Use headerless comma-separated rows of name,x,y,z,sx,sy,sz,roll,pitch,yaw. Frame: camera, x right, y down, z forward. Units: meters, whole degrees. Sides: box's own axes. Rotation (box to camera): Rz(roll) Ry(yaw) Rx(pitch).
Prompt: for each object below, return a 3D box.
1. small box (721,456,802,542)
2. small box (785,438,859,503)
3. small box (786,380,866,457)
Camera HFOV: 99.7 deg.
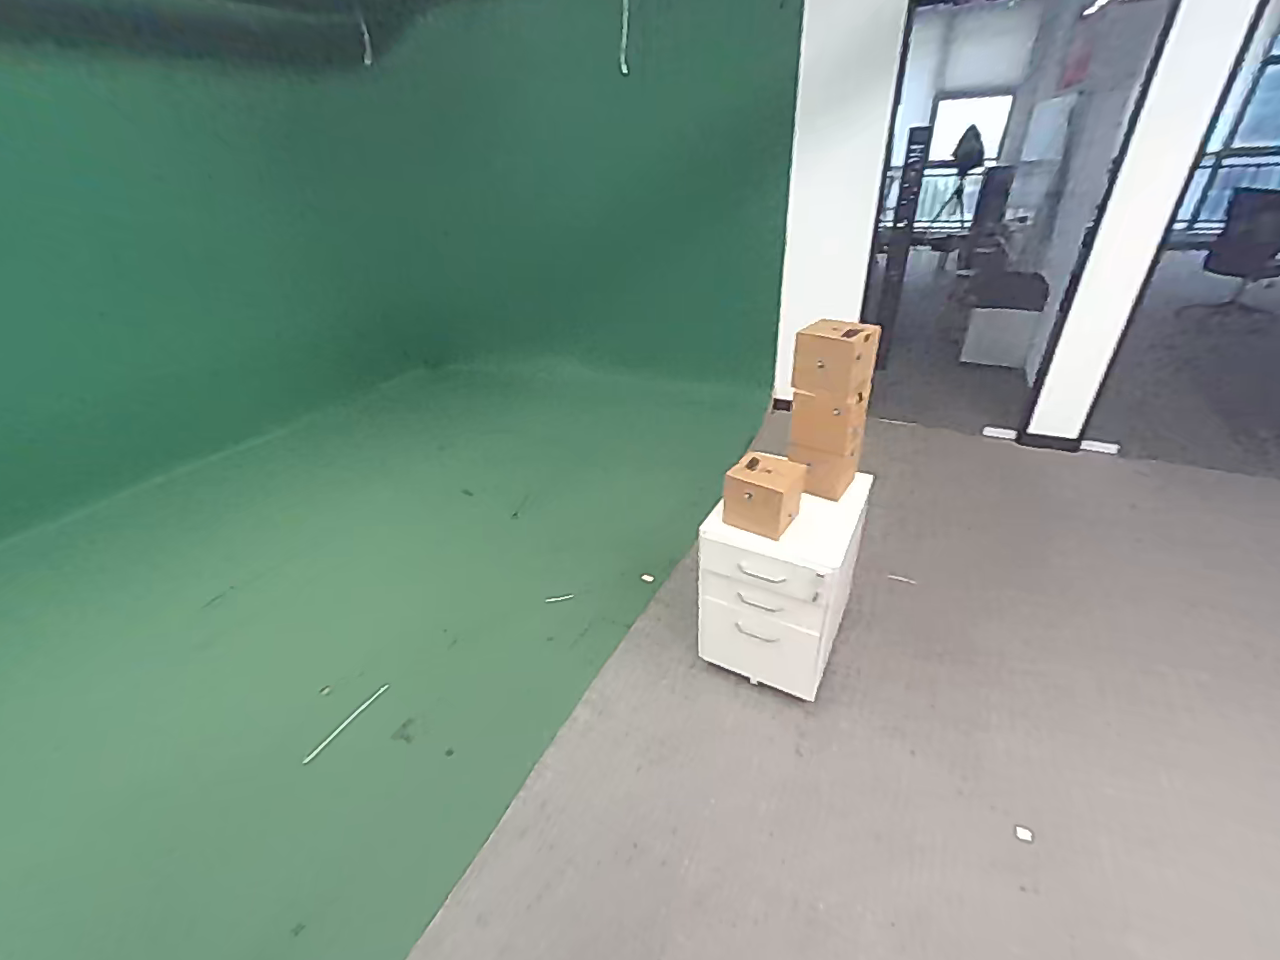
small box,0.346,0.055,1.557,0.179,0.176,0.168,19,37,30
small box,0.566,-0.047,1.706,0.179,0.176,0.168,19,38,32
small box,0.552,-0.185,1.621,0.179,0.176,0.168,18,38,31
